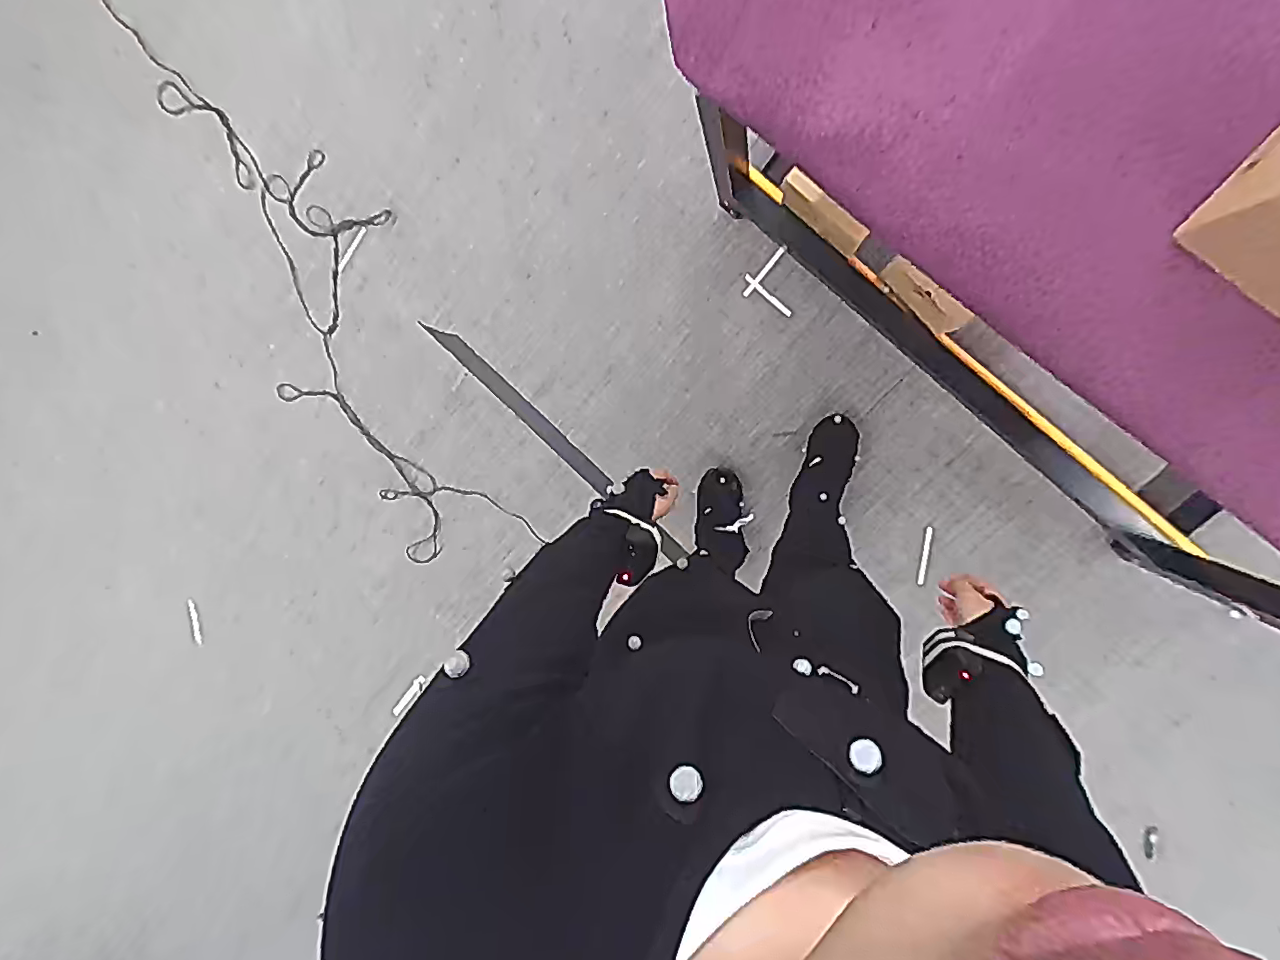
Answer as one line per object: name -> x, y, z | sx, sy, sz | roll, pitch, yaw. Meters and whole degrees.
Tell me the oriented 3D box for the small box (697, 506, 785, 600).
small box -> 0.225, 0.161, 1.241 | 0.179, 0.176, 0.168 | 8, 99, 7
